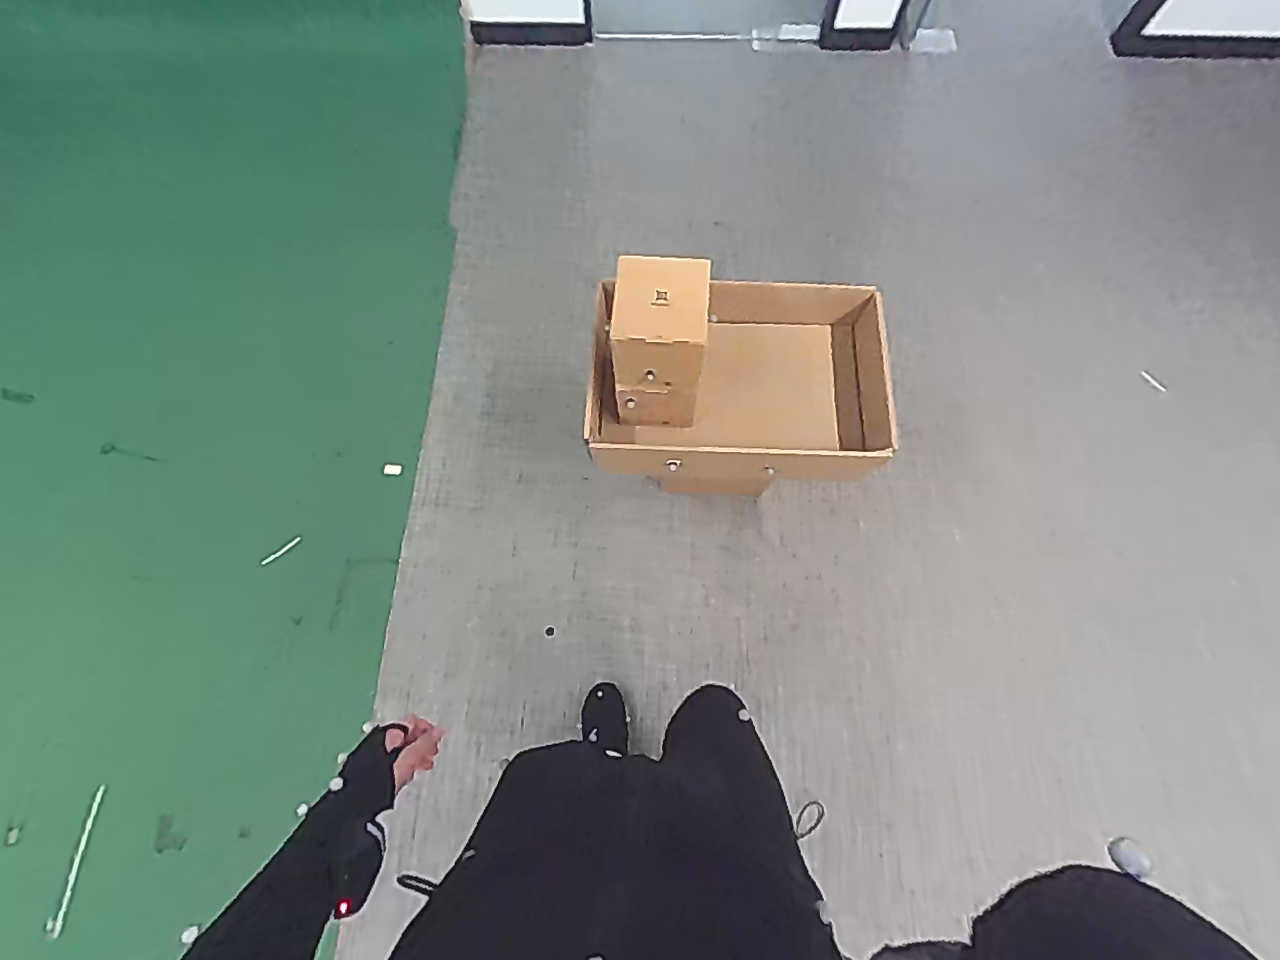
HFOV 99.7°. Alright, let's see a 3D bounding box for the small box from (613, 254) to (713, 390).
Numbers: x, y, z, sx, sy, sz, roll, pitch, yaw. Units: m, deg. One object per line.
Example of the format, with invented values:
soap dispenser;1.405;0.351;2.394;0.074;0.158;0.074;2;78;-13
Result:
small box;0.041;-0.291;1.011;0.168;0.176;0.179;4;71;2
